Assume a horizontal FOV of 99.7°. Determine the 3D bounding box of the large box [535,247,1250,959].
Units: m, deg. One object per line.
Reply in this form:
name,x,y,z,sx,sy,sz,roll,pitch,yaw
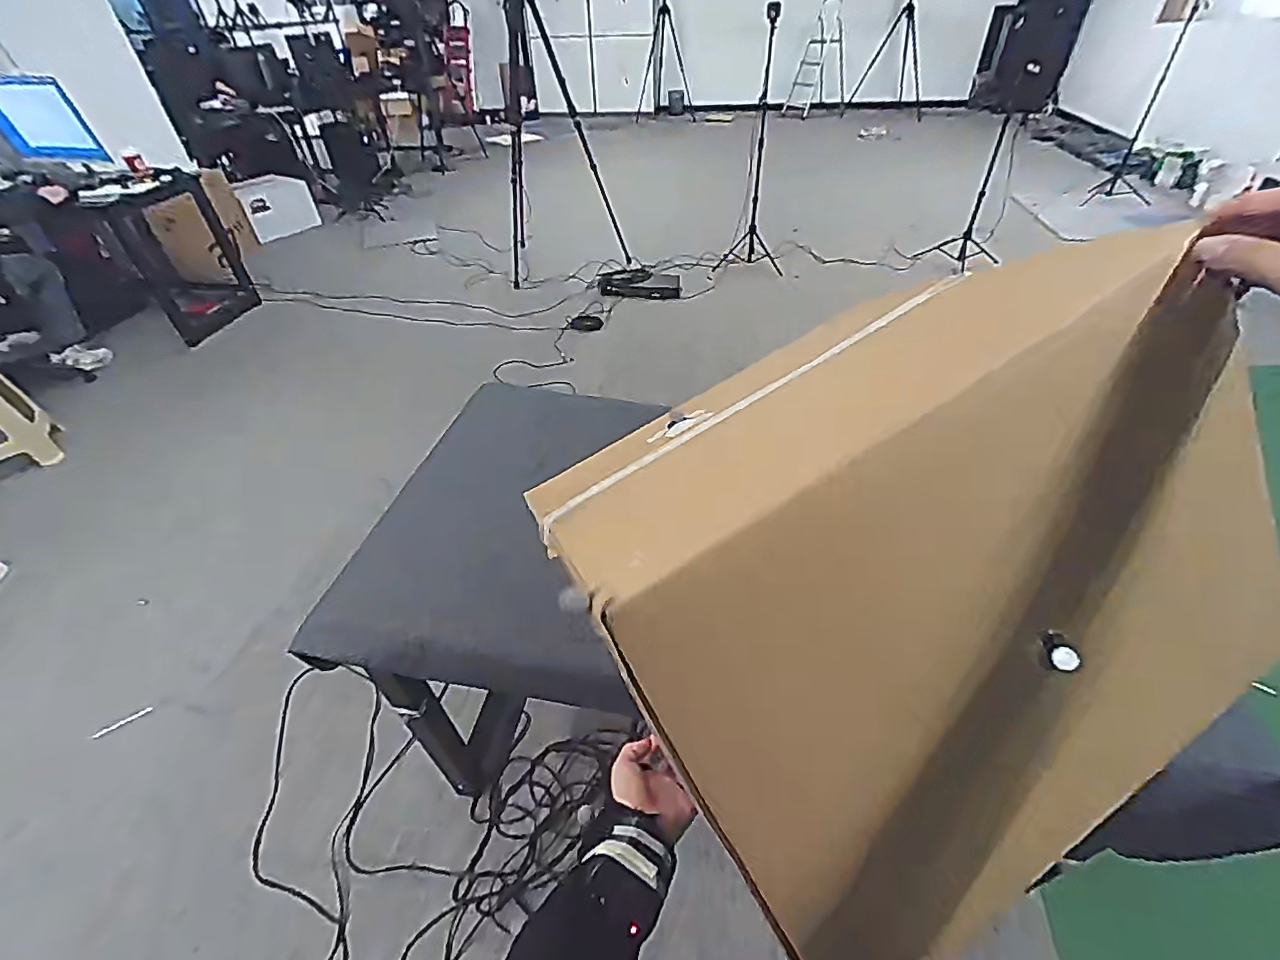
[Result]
large box,0.182,0.071,0.455,0.408,0.320,0.320,-33,16,-12
